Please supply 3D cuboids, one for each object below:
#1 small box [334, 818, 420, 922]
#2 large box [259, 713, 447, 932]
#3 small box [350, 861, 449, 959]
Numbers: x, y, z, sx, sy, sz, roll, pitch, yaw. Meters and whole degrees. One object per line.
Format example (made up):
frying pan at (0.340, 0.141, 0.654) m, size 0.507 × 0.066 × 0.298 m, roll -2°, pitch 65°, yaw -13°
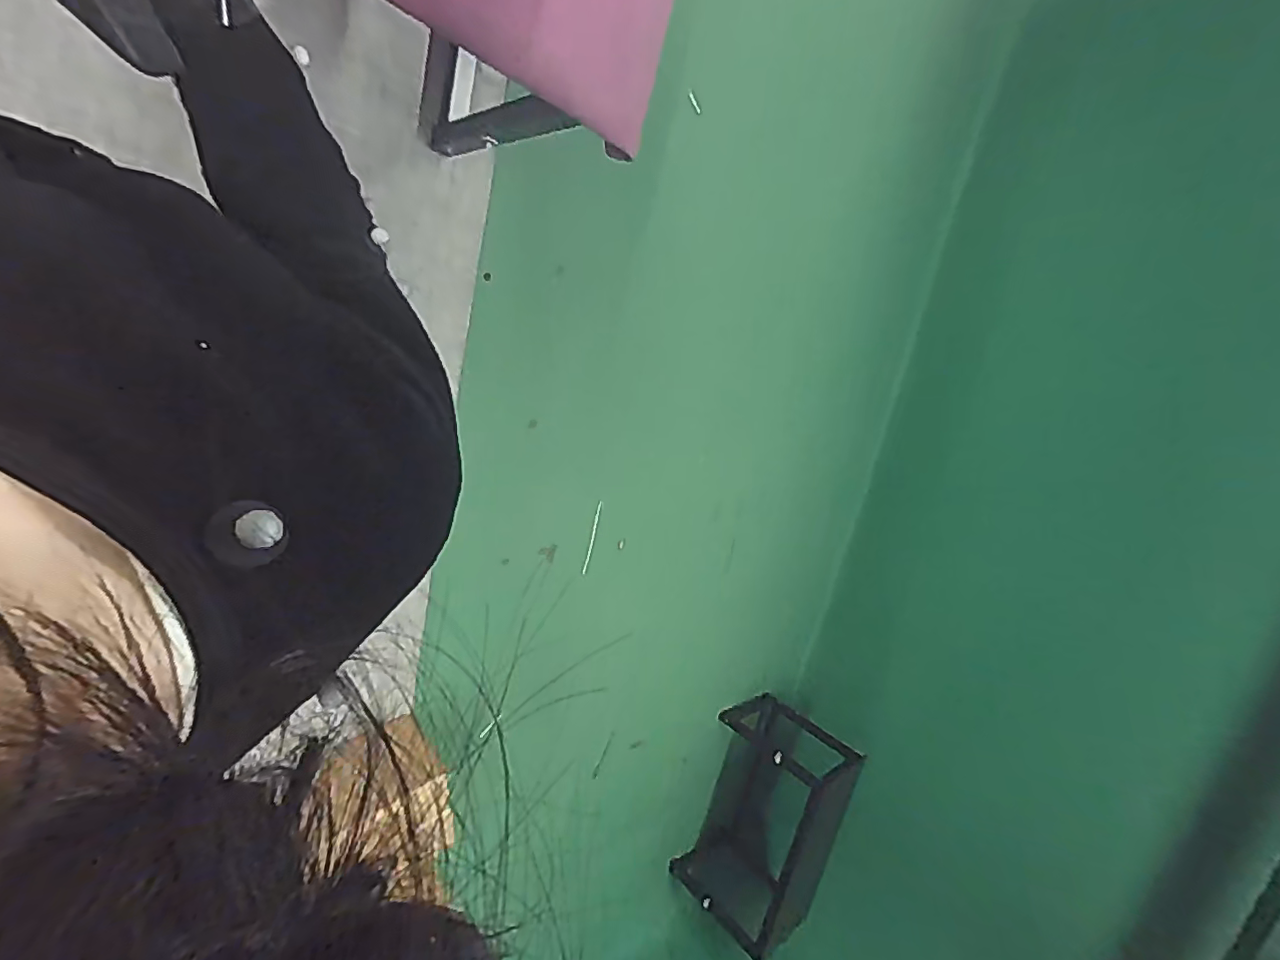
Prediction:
small box at (-0.704, 1.051, 1.448) m, size 0.168 × 0.176 × 0.179 m, roll -10°, pitch 114°, yaw -43°
large box at (-0.856, 1.001, 1.639) m, size 0.408 × 0.320 × 0.320 m, roll -18°, pitch 121°, yaw -42°
small box at (-0.597, 1.106, 1.340) m, size 0.179 × 0.176 × 0.168 m, roll -8°, pitch 113°, yaw -43°
